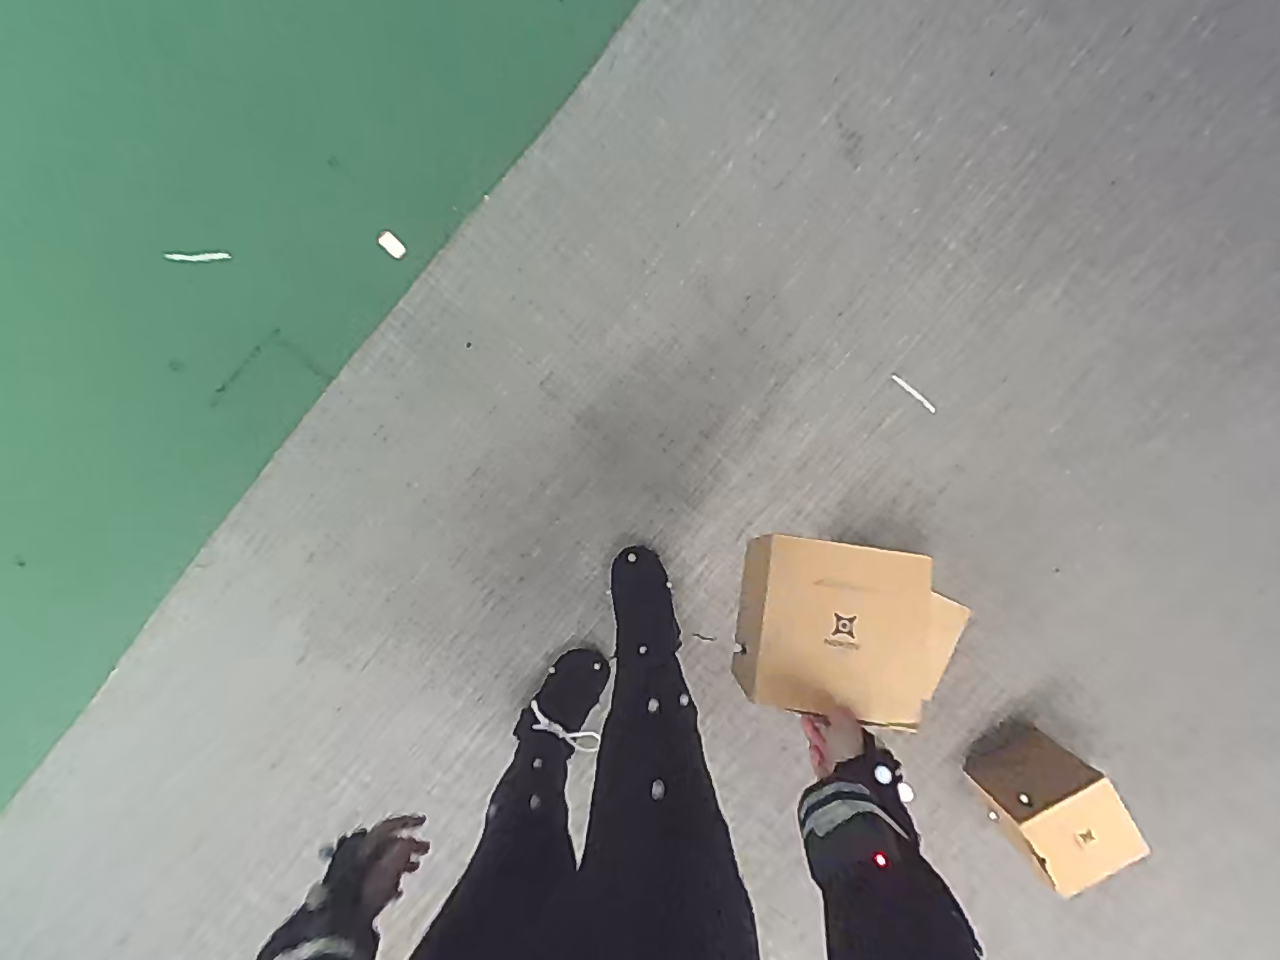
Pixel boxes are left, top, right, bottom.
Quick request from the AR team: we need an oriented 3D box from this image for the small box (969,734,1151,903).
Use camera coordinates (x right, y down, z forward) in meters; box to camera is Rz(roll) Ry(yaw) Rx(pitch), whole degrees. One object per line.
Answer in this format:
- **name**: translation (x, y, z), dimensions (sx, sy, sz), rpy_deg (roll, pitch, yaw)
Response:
- **small box**: translation (0.769, 0.617, 1.009), dimensions (0.179, 0.176, 0.168), rpy_deg (-32, 94, 2)

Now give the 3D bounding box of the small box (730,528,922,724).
- **small box**: translation (0.201, 0.158, 0.627), dimensions (0.168, 0.176, 0.179), rpy_deg (7, 80, 2)
